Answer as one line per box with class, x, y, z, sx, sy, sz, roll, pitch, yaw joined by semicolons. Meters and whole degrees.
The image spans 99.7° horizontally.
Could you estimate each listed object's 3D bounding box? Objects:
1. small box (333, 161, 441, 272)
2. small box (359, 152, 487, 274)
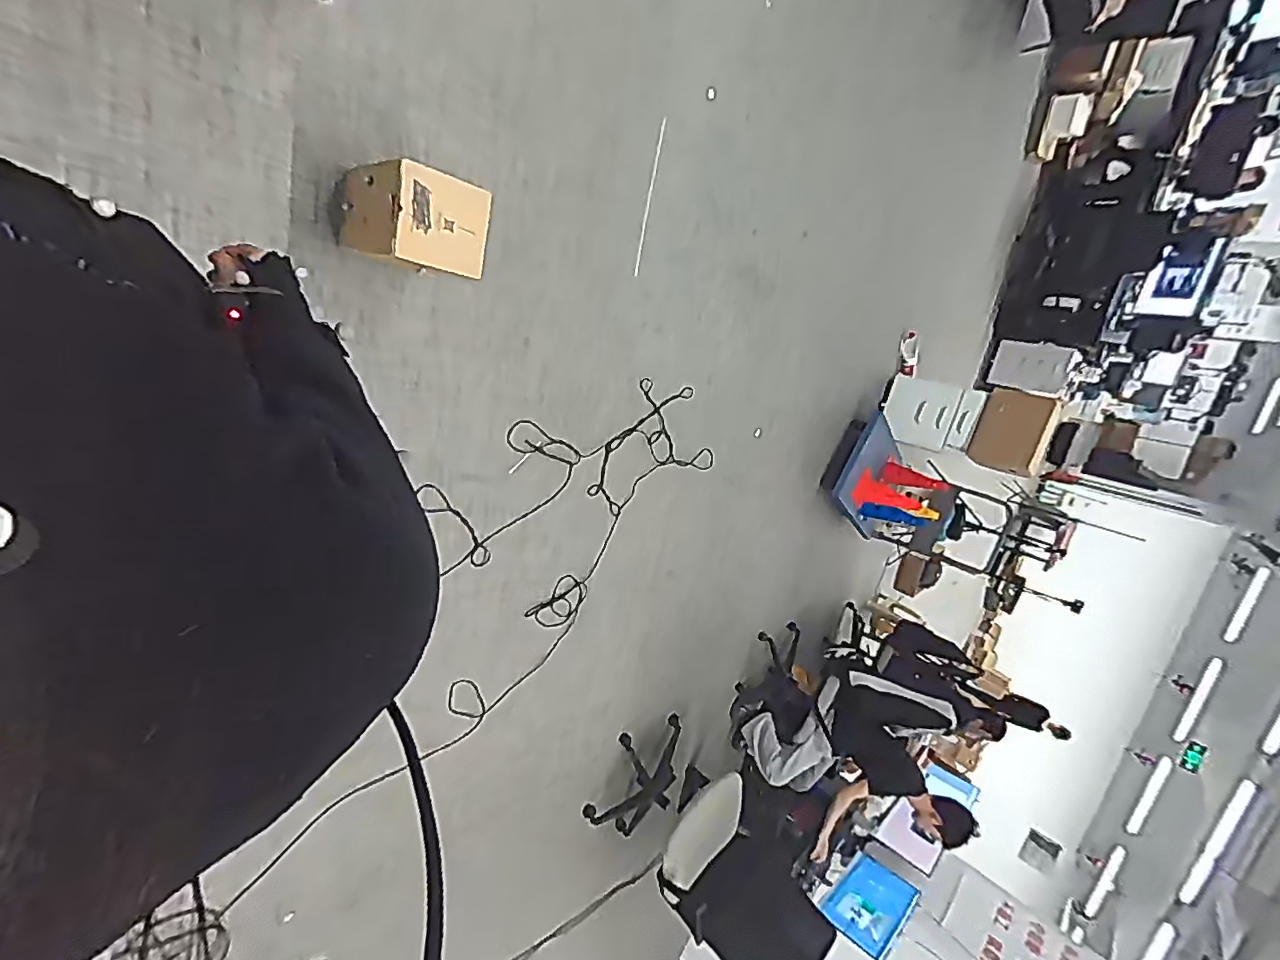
small box;-0.532;-0.562;1.167;0.179;0.176;0.168;1;107;-47
small box;-0.426;-0.509;1.052;0.179;0.176;0.168;-3;110;-47
